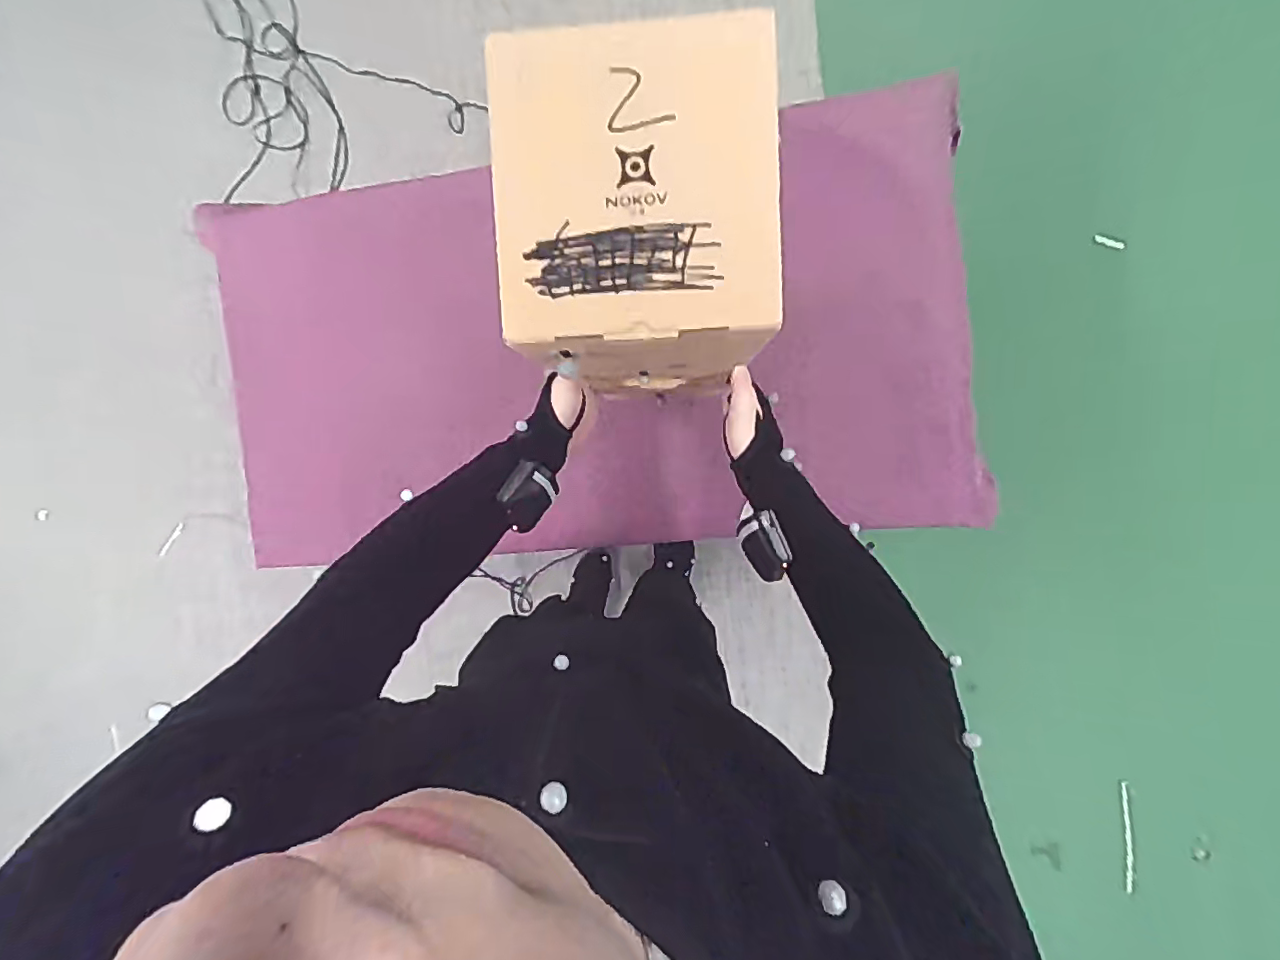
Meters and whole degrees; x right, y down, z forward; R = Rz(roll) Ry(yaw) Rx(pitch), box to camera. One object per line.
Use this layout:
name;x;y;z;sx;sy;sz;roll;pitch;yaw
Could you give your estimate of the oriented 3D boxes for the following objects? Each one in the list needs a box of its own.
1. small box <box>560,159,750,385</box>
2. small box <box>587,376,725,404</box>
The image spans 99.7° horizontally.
small box;0.014;-0.193;0.547;0.168;0.176;0.179;0;95;3
small box;0.022;-0.195;0.709;0.168;0.176;0.179;-1;94;4
